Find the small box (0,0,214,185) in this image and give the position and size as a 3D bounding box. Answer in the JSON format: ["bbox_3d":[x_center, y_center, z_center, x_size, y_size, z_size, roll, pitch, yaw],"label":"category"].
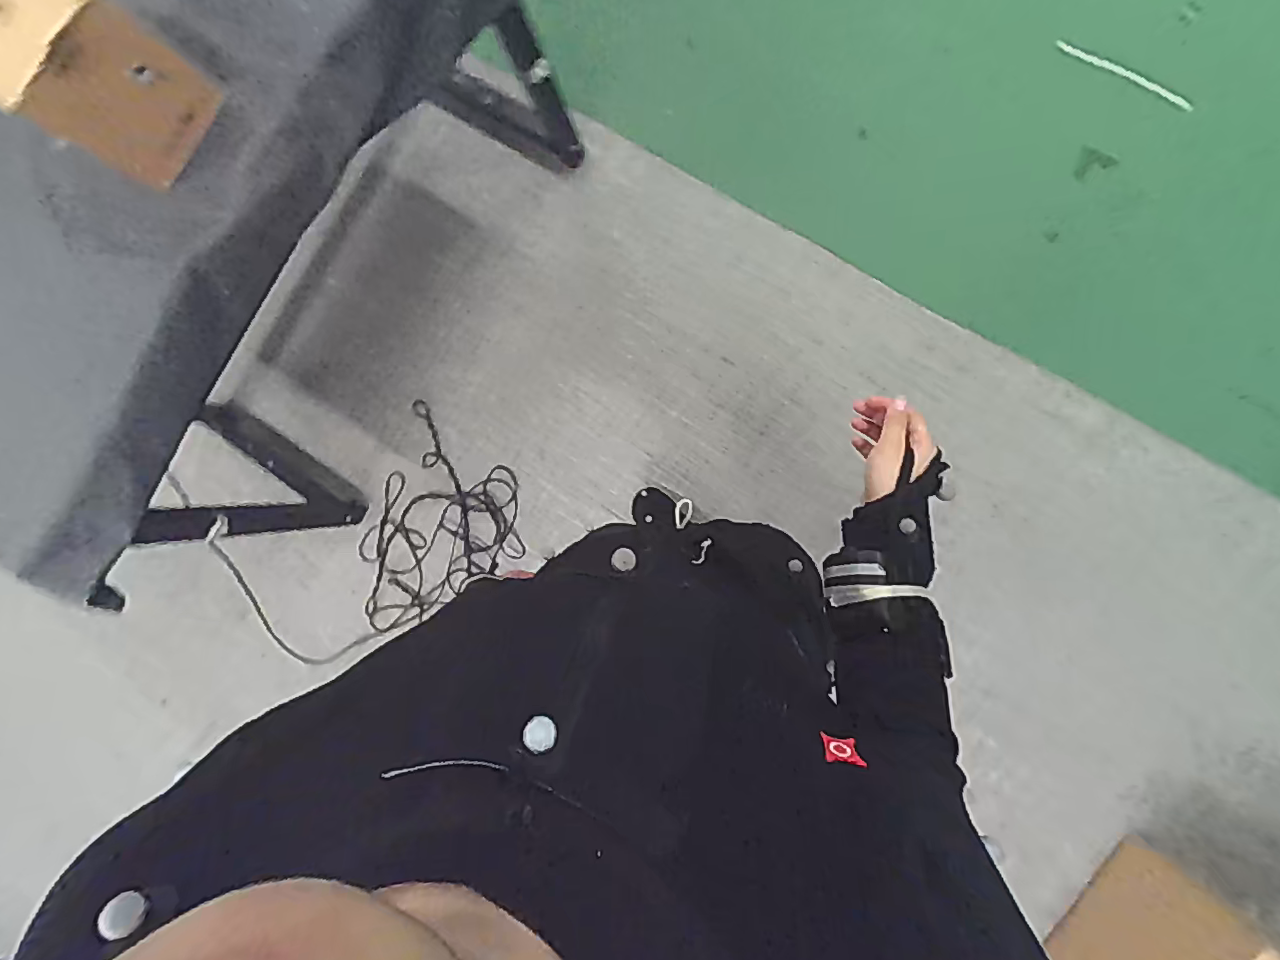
[{"bbox_3d":[-0.692,-0.507,0.670,0.179,0.176,0.168,36,93,9],"label":"small box"}]
